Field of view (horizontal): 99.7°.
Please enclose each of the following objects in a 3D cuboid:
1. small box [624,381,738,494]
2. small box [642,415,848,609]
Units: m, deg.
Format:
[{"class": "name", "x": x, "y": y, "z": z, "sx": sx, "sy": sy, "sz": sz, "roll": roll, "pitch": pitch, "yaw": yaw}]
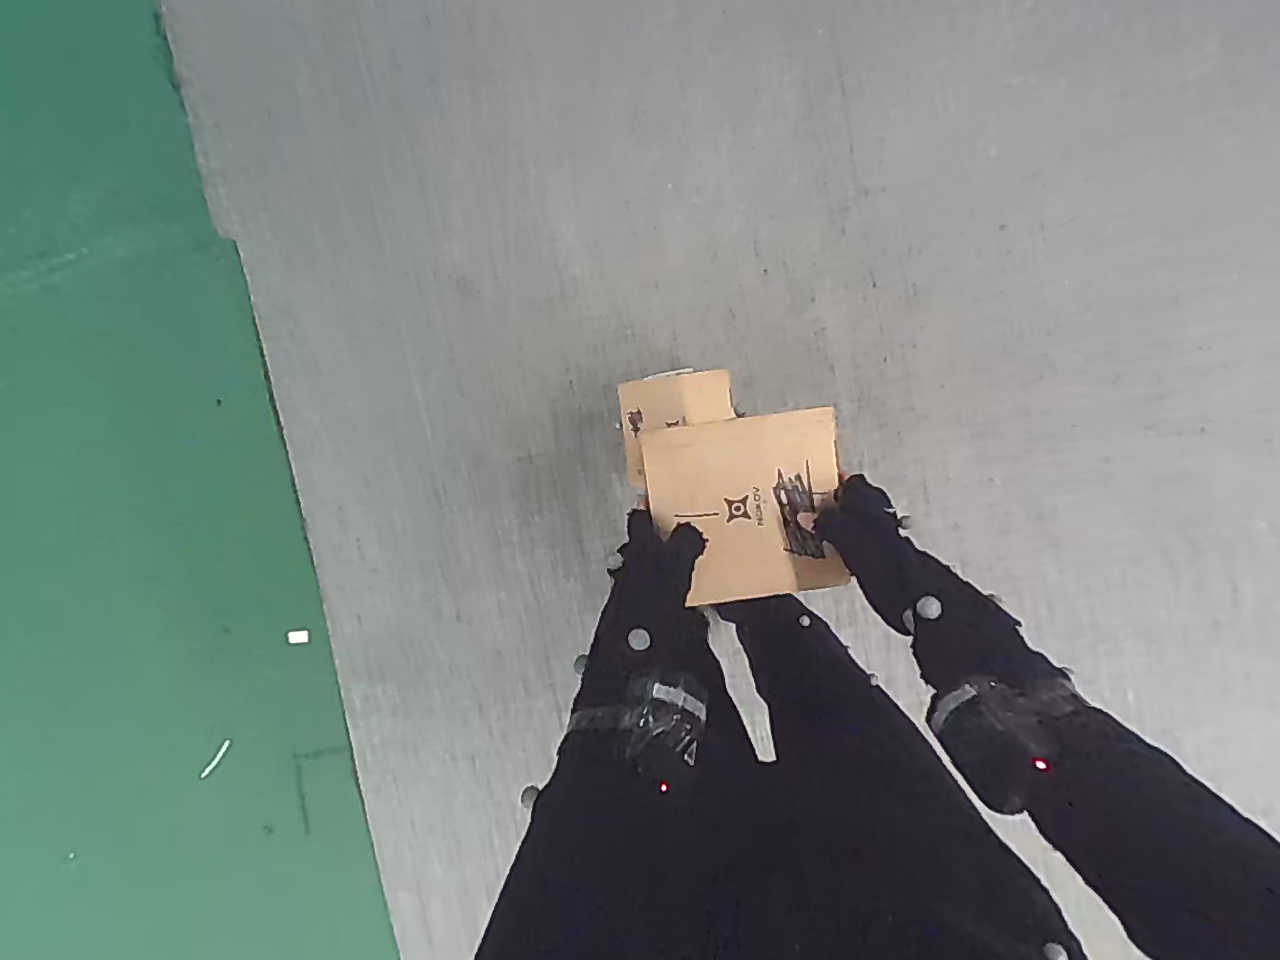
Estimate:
[{"class": "small box", "x": 0.072, "y": -0.071, "z": 0.926, "sx": 0.179, "sy": 0.176, "sz": 0.168, "roll": -6, "pitch": 92, "yaw": 4}, {"class": "small box", "x": 0.098, "y": 0.024, "z": 0.575, "sx": 0.179, "sy": 0.176, "sz": 0.168, "roll": -8, "pitch": 93, "yaw": 1}]
